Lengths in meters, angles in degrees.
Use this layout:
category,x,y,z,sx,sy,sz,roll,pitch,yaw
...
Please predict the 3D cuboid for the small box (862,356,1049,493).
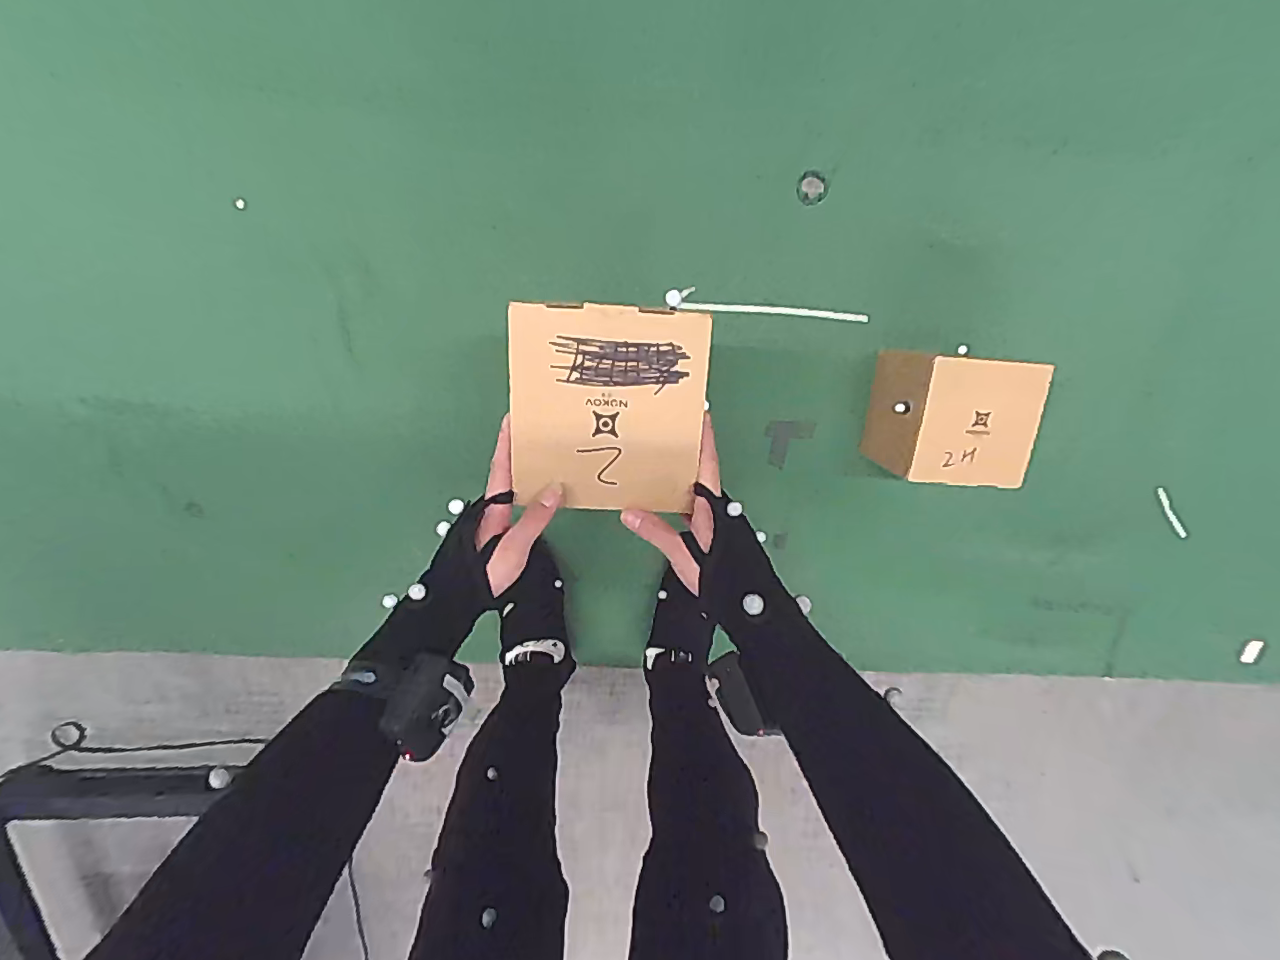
category,x,y,z,sx,sy,sz,roll,pitch,yaw
small box,0.460,-0.091,0.820,0.168,0.176,0.179,4,106,-3
